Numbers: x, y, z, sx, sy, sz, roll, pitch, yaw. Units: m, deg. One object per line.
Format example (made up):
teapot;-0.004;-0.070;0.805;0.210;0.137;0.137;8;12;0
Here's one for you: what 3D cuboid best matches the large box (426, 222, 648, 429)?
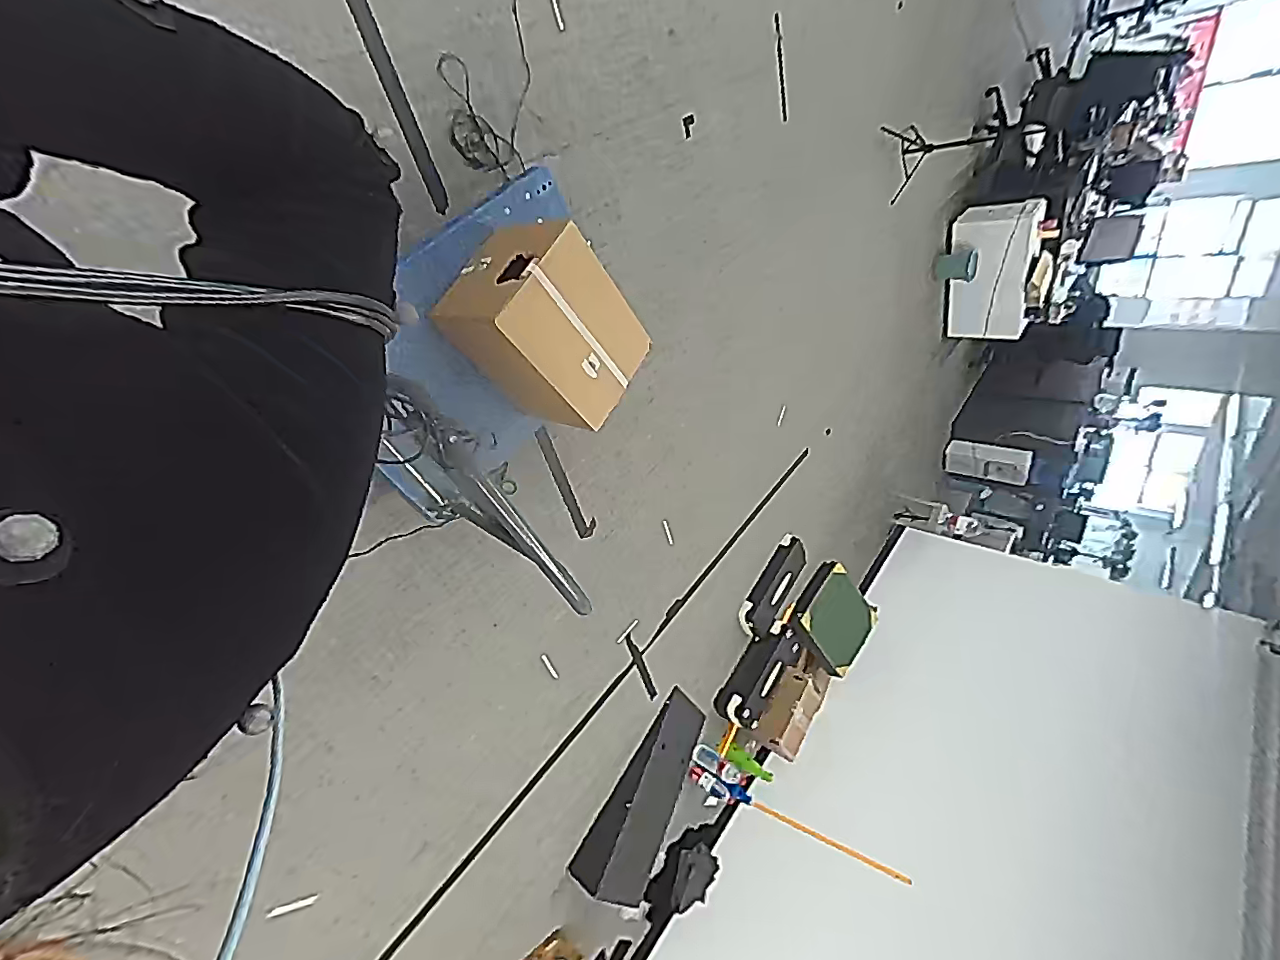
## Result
large box;-0.253;-0.387;1.397;0.320;0.320;0.408;-59;138;-15
